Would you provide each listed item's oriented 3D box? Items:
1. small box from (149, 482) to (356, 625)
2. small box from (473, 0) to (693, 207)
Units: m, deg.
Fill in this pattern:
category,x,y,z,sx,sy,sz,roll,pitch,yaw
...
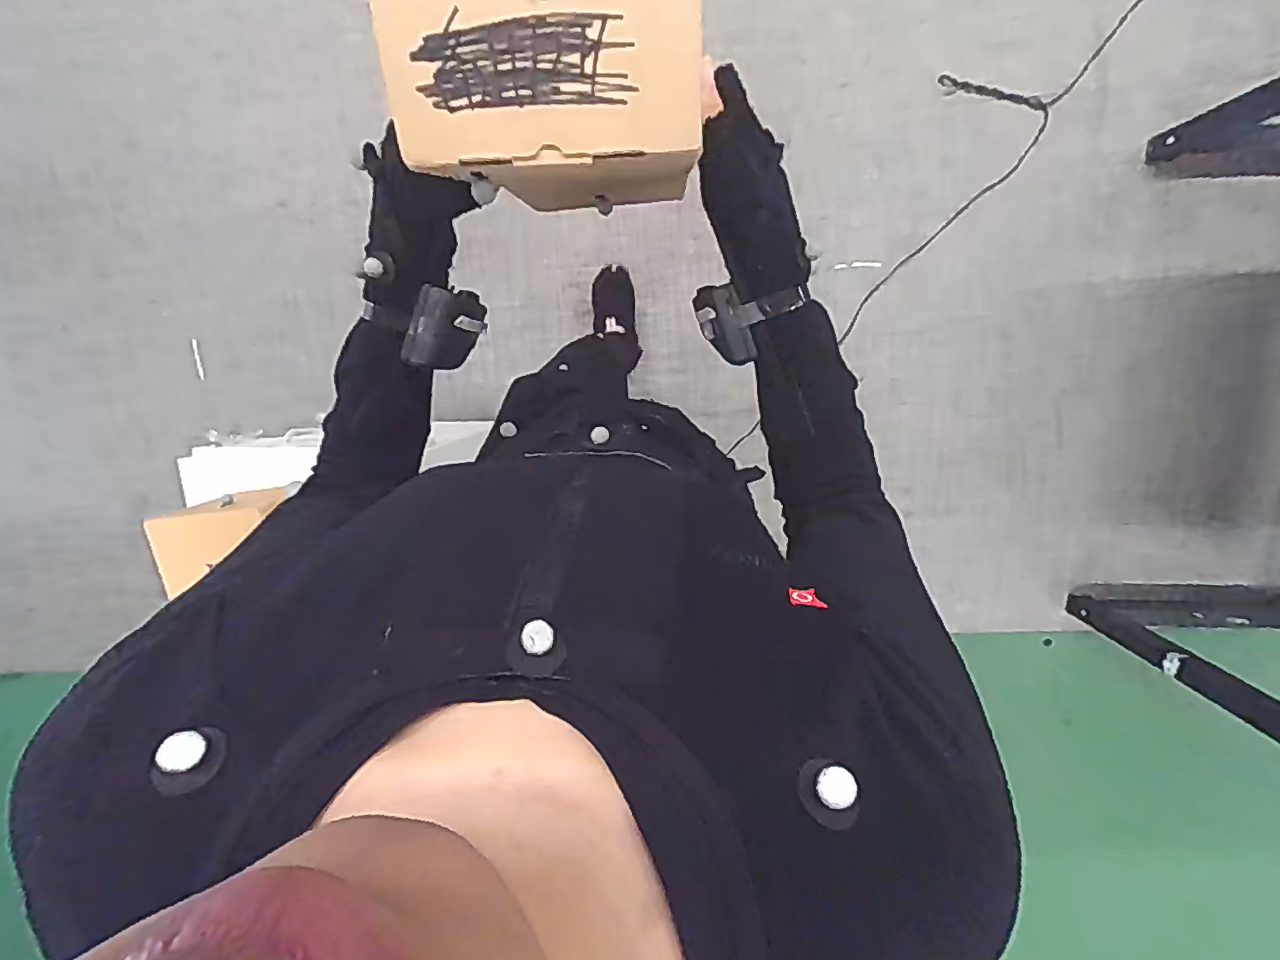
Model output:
category,x,y,z,sx,sy,sz,roll,pitch,yaw
small box,-0.581,0.105,0.835,0.179,0.176,0.168,-7,102,4
small box,-0.041,-0.364,0.490,0.168,0.176,0.179,-3,107,4
